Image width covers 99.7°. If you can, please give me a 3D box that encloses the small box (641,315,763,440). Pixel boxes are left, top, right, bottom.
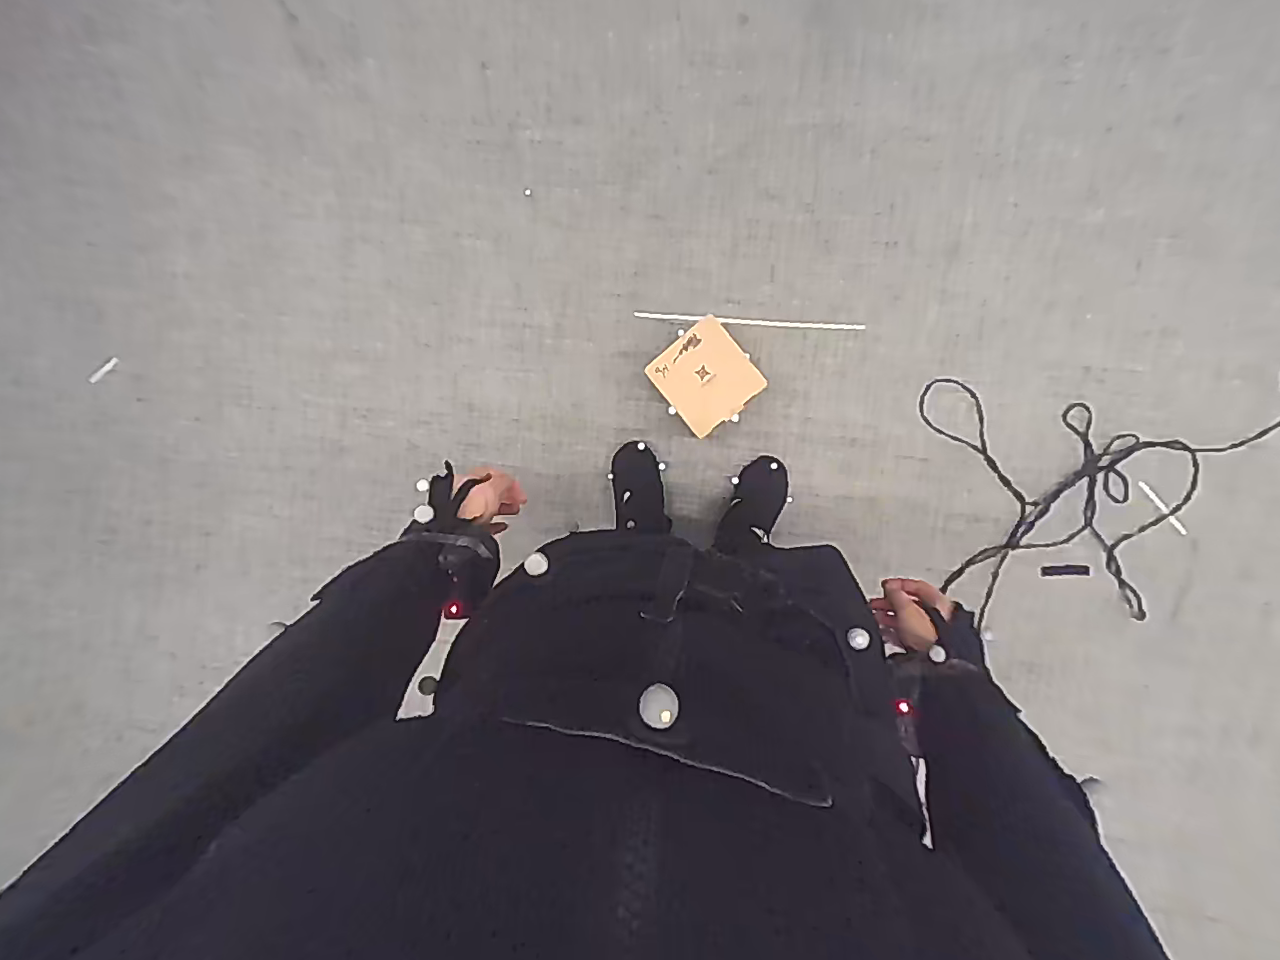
[{"bbox_3d":[0.126,-0.202,1.092,0.168,0.176,0.179,-39,91,9],"label":"small box"}]
